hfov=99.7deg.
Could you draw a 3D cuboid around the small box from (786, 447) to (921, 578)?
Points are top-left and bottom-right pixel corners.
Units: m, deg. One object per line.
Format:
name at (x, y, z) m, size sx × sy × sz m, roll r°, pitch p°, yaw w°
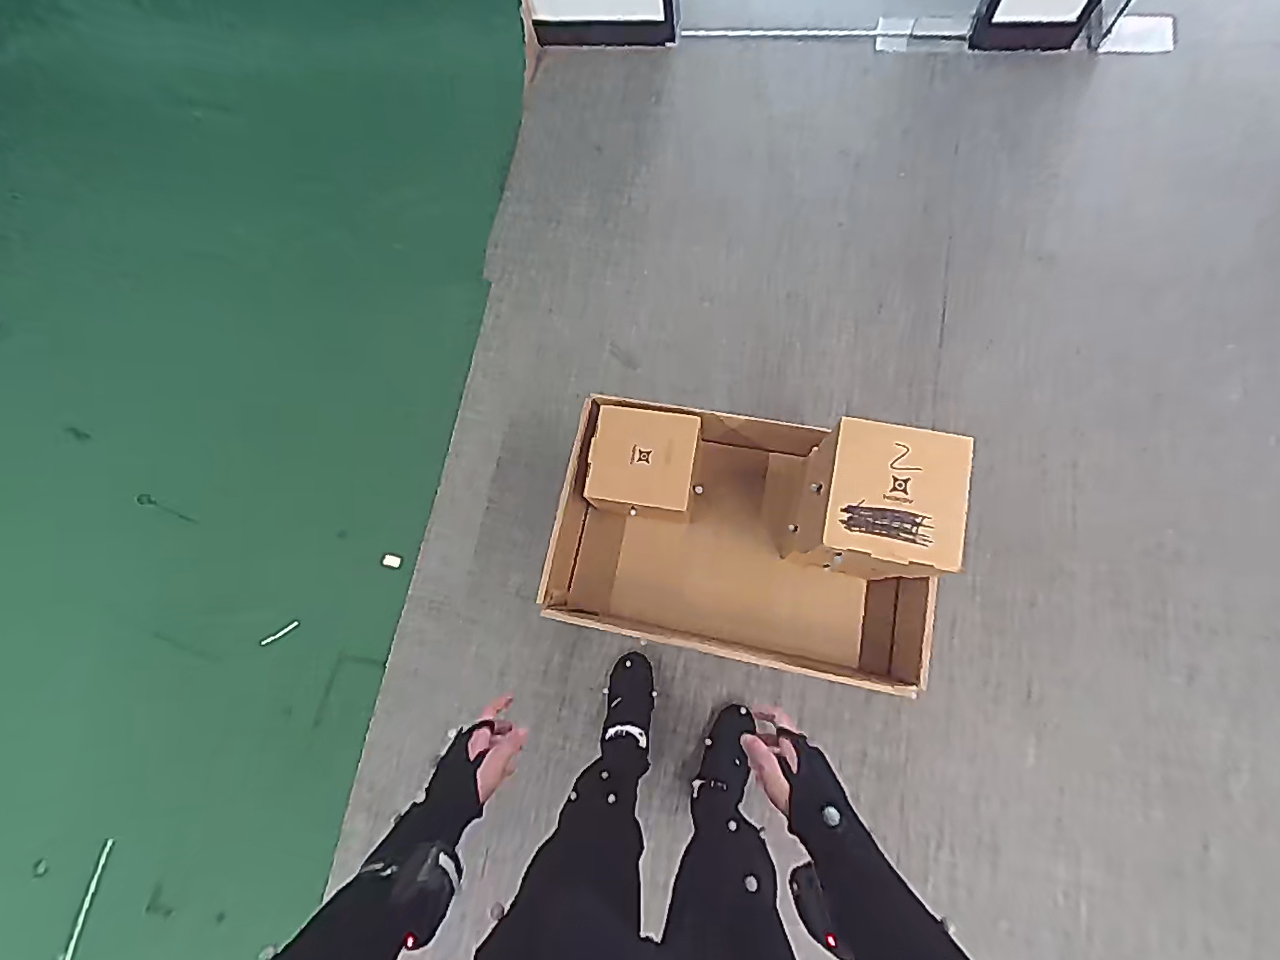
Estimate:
small box at (0.350, 0.062, 0.916) m, size 0.168 × 0.176 × 0.179 m, roll 11°, pitch 80°, yaw 9°
